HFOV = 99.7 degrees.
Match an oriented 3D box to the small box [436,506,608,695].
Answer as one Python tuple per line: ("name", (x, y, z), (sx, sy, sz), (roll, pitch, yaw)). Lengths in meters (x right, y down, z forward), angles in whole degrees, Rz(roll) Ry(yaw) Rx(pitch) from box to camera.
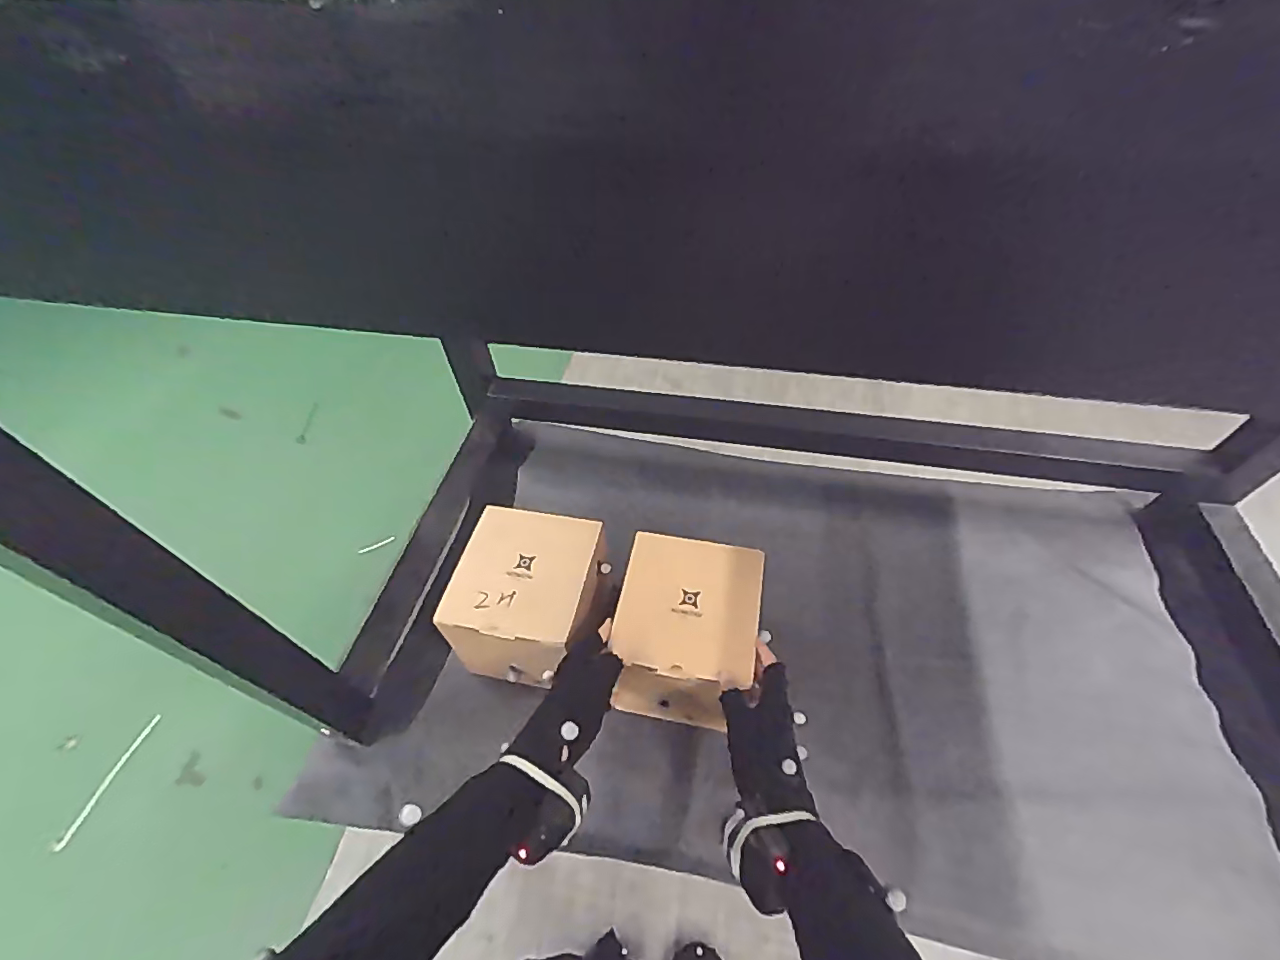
("small box", (-0.142, 0.164, 0.734), (0.168, 0.176, 0.179), (8, 51, 9))

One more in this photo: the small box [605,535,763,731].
("small box", (0.060, 0.198, 0.700), (0.168, 0.176, 0.179), (7, 51, 10))
